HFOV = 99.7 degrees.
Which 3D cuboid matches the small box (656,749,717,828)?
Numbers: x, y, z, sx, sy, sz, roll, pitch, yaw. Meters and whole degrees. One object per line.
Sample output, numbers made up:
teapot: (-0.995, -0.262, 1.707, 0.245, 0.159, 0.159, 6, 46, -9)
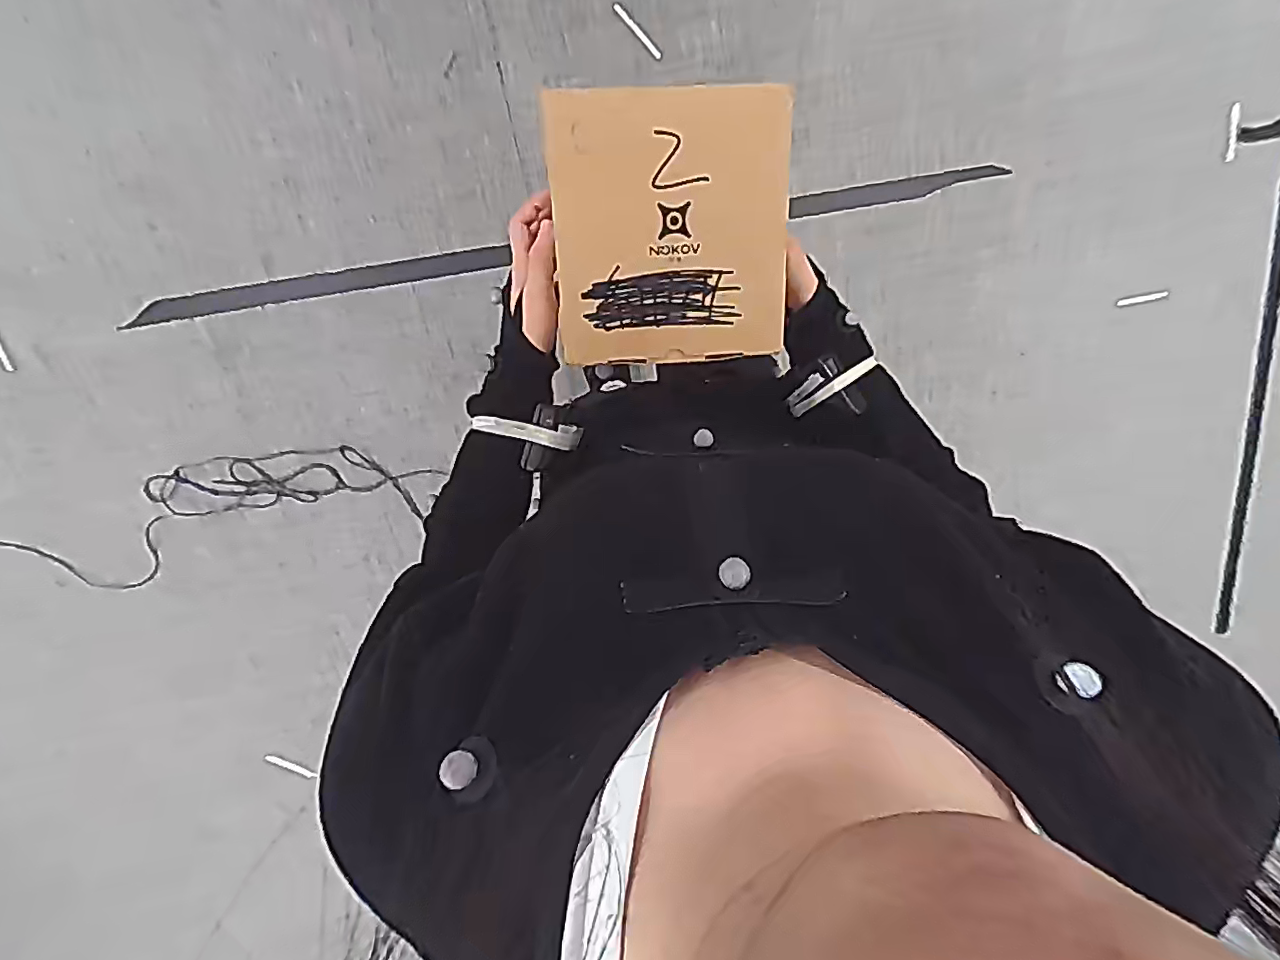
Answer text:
small box: (0.146, 1.002, 1.746, 0.179, 0.176, 0.168, -5, 106, -6)
